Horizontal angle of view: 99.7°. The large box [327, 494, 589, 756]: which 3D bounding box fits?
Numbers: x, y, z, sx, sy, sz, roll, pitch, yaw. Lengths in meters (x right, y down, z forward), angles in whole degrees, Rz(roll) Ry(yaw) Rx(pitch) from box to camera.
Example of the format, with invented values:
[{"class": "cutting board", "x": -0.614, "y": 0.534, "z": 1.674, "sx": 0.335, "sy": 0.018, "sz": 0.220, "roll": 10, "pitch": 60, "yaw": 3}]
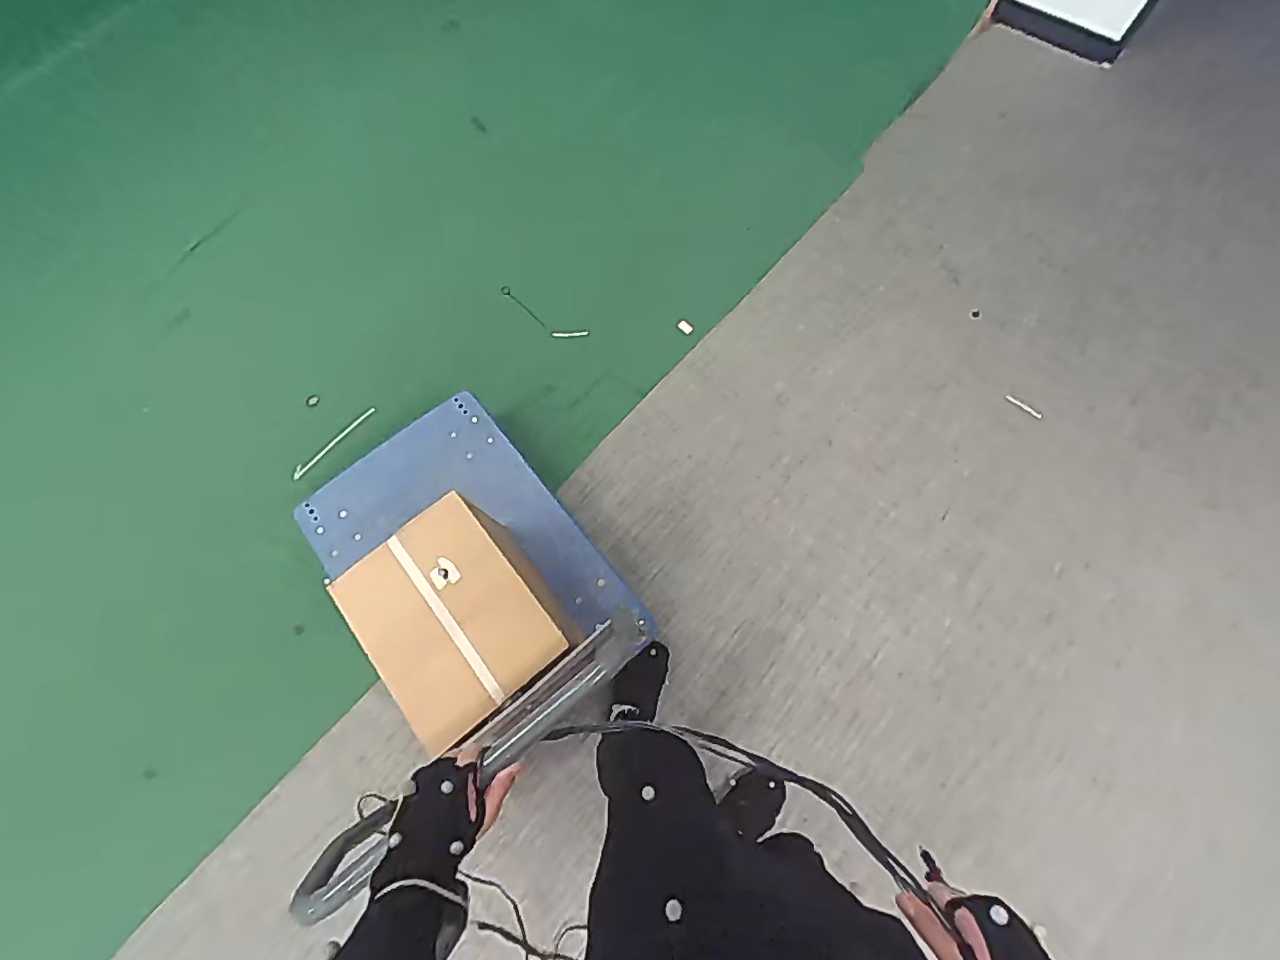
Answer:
[{"class": "large box", "x": -0.368, "y": 0.306, "z": 1.177, "sx": 0.320, "sy": 0.320, "sz": 0.408, "roll": -39, "pitch": 73, "yaw": -9}]
